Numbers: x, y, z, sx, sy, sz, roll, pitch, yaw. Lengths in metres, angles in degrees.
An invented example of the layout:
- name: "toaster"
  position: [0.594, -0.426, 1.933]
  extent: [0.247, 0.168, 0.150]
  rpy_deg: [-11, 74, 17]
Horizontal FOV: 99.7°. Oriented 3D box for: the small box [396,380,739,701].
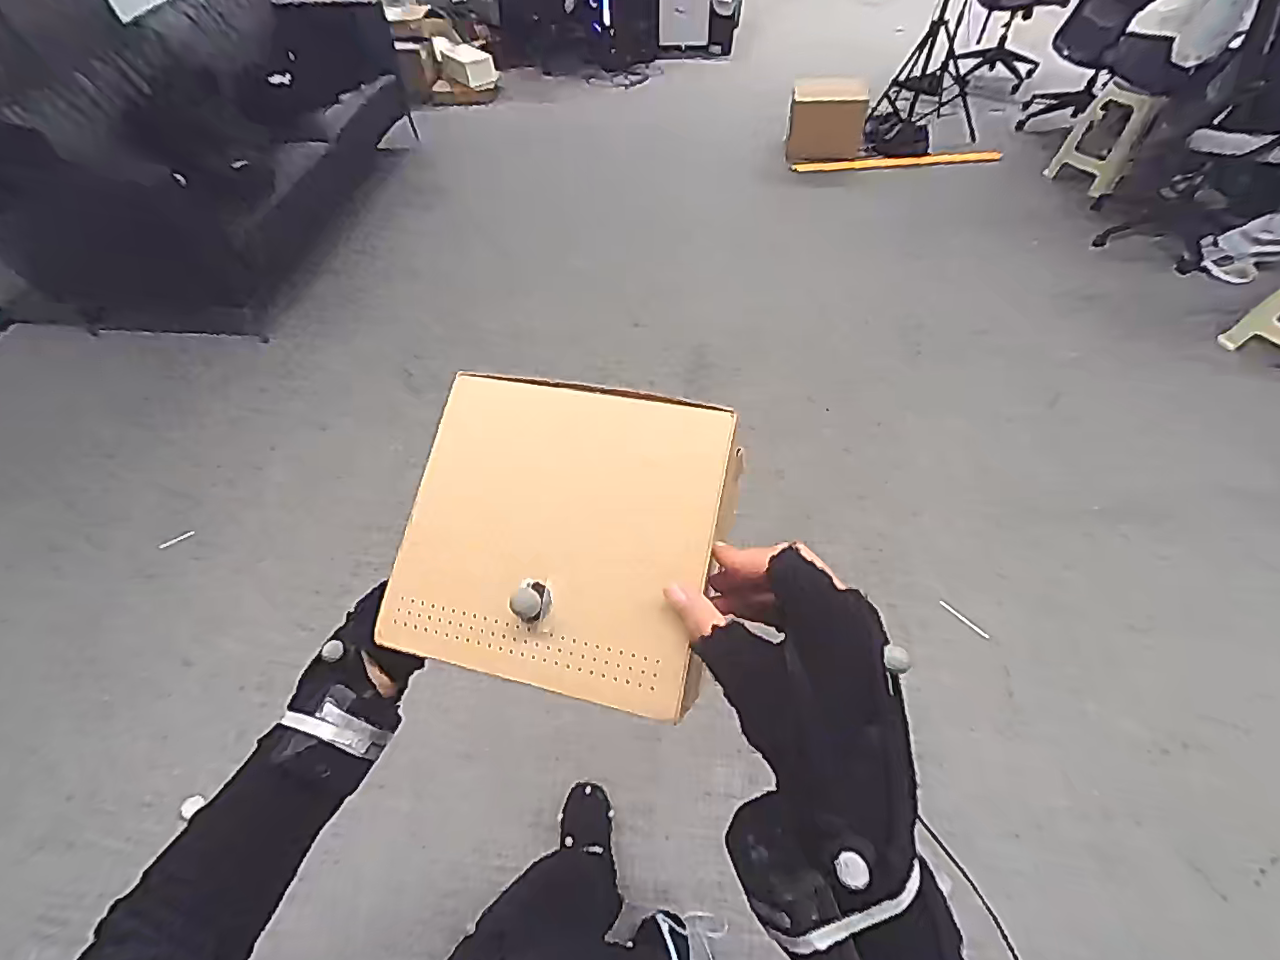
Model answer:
- name: "small box"
  position: [-0.033, 0.049, 0.383]
  extent: [0.179, 0.168, 0.176]
  rpy_deg: [9, 77, 13]
